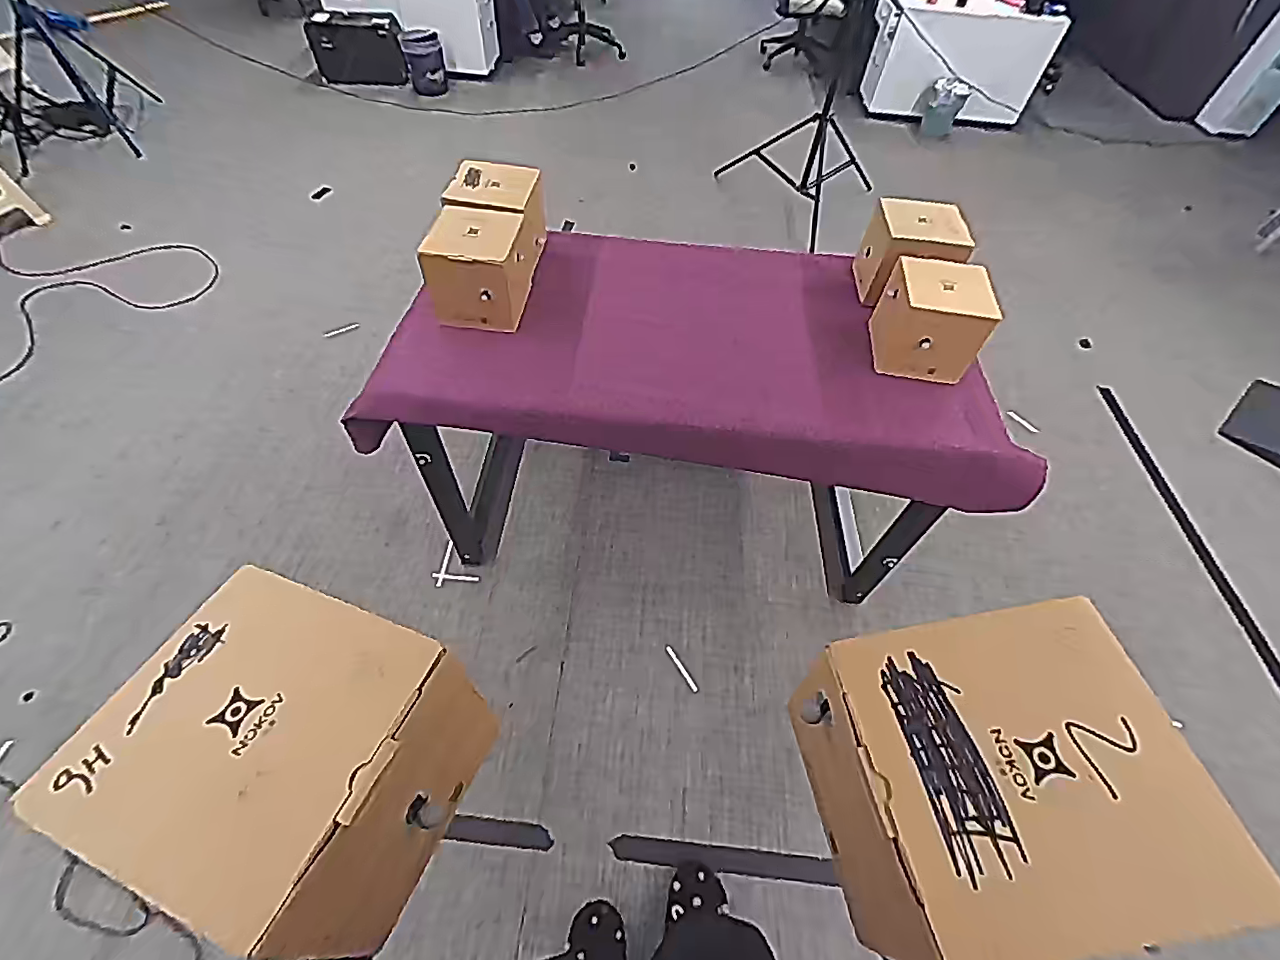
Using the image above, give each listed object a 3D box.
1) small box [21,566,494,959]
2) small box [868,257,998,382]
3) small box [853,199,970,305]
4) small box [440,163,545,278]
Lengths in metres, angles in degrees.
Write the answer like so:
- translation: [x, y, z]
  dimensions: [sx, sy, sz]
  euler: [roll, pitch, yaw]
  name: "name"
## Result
- translation: [-0.227, 0.194, 0.381]
  dimensions: [0.179, 0.176, 0.168]
  euler: [17, 51, 13]
  name: "small box"
- translation: [0.580, -0.321, 1.096]
  dimensions: [0.168, 0.176, 0.179]
  euler: [9, 53, 4]
  name: "small box"
- translation: [0.598, -0.505, 1.222]
  dimensions: [0.179, 0.176, 0.168]
  euler: [7, 55, 0]
  name: "small box"
- translation: [-0.321, -0.579, 1.215]
  dimensions: [0.179, 0.176, 0.168]
  euler: [8, 56, 0]
  name: "small box"
